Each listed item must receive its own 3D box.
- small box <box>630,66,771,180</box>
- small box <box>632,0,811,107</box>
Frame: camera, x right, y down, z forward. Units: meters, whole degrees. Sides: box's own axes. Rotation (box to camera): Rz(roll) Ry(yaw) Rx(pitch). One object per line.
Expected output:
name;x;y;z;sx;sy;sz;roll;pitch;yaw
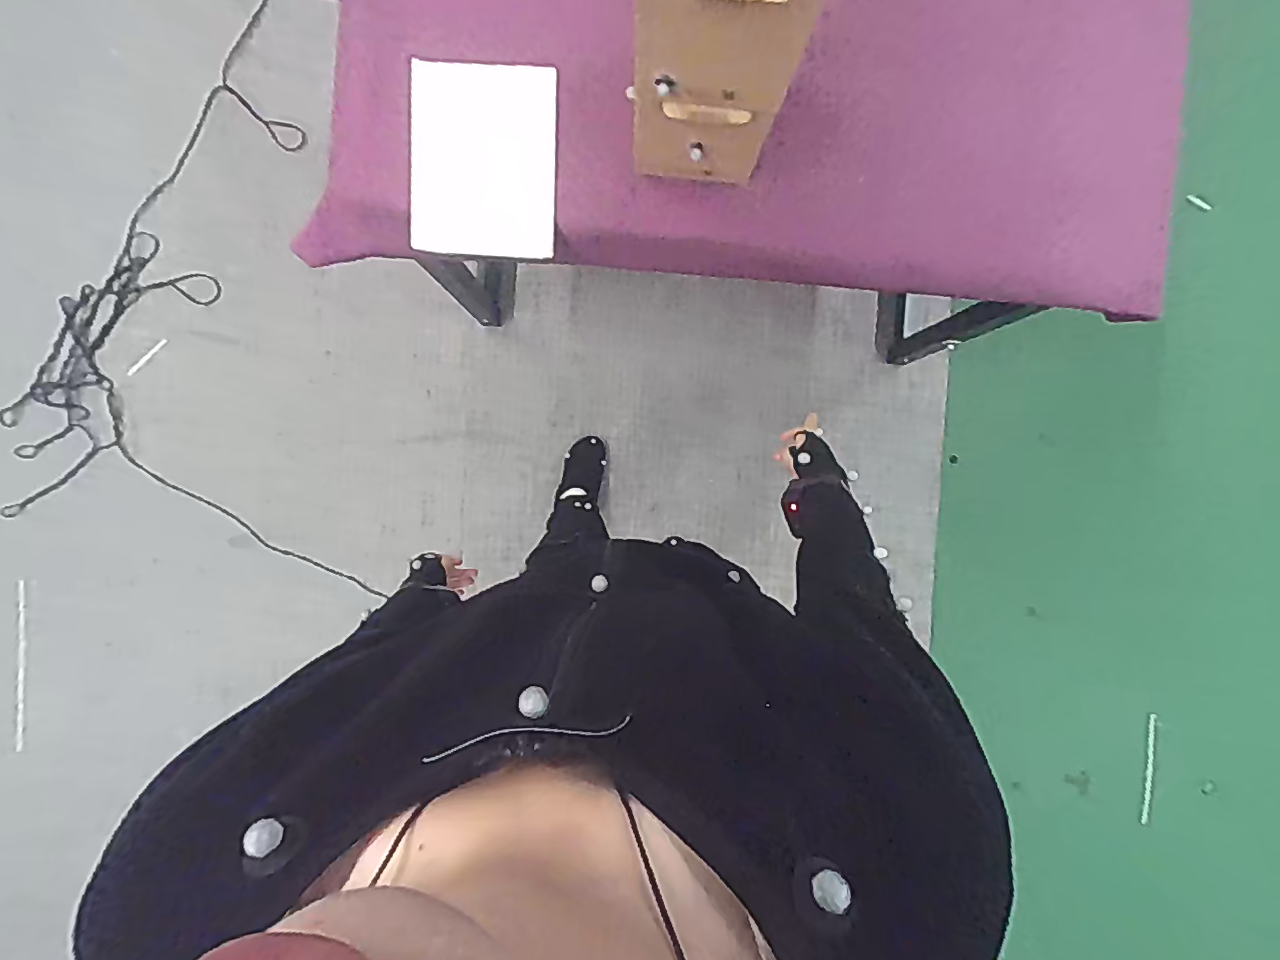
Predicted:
small box;0.077;-0.518;0.697;0.168;0.176;0.179;5;91;-2
small box;0.081;-0.510;0.532;0.168;0.176;0.179;5;89;-2
